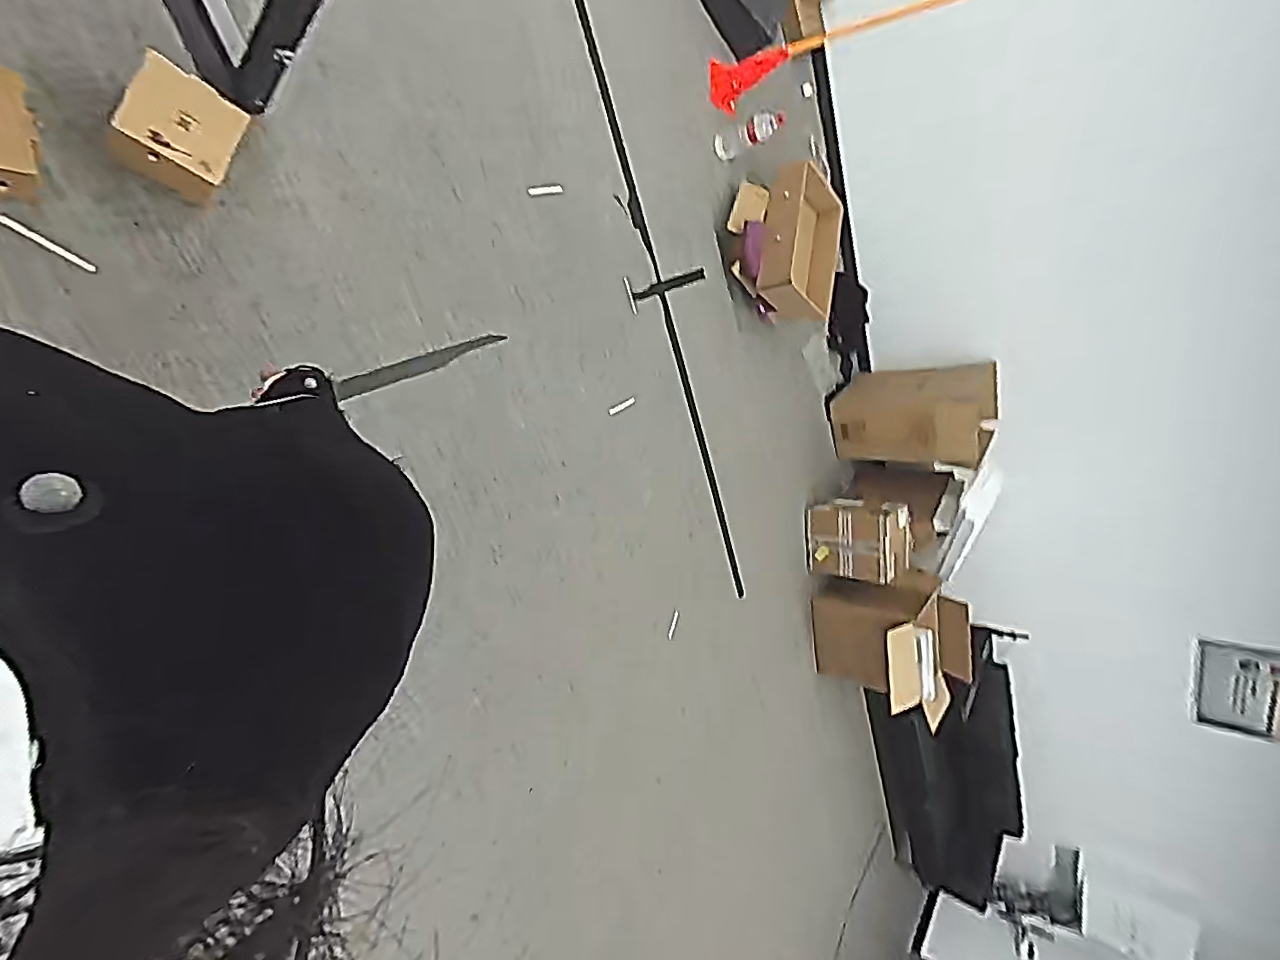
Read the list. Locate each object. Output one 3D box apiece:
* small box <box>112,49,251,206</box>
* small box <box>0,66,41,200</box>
[{"bbox_3d":[-0.933,-0.701,1.098,0.168,0.176,0.179,25,74,-44],"label":"small box"},{"bbox_3d":[-1.132,-0.590,0.898,0.179,0.176,0.168,-7,96,-45],"label":"small box"}]
